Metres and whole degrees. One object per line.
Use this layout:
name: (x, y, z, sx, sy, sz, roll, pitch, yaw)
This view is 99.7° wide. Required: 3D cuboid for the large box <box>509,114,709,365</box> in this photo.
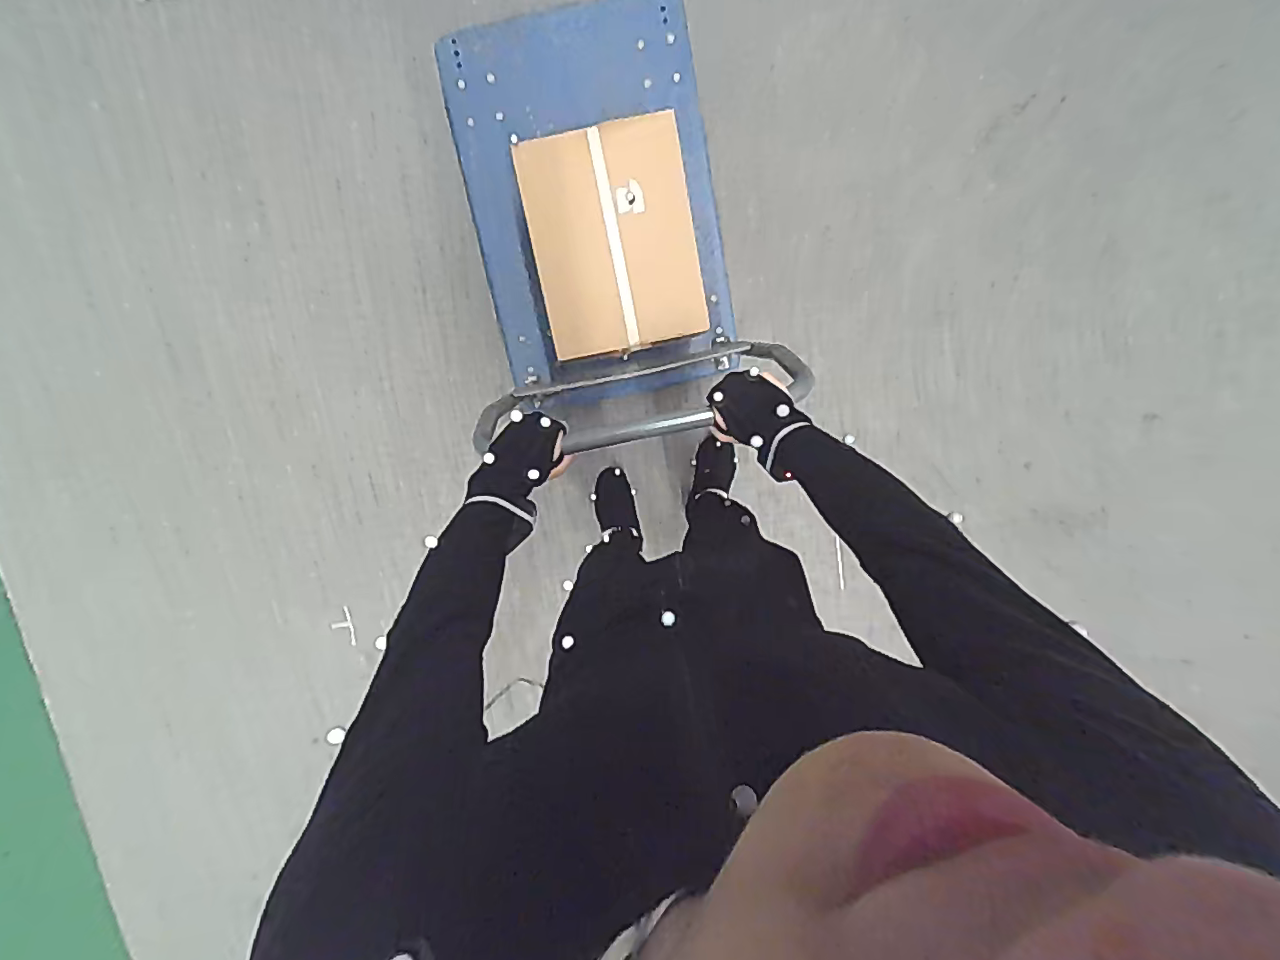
large box: (-0.055, -0.484, 1.184, 0.320, 0.320, 0.408, -12, 101, 0)
